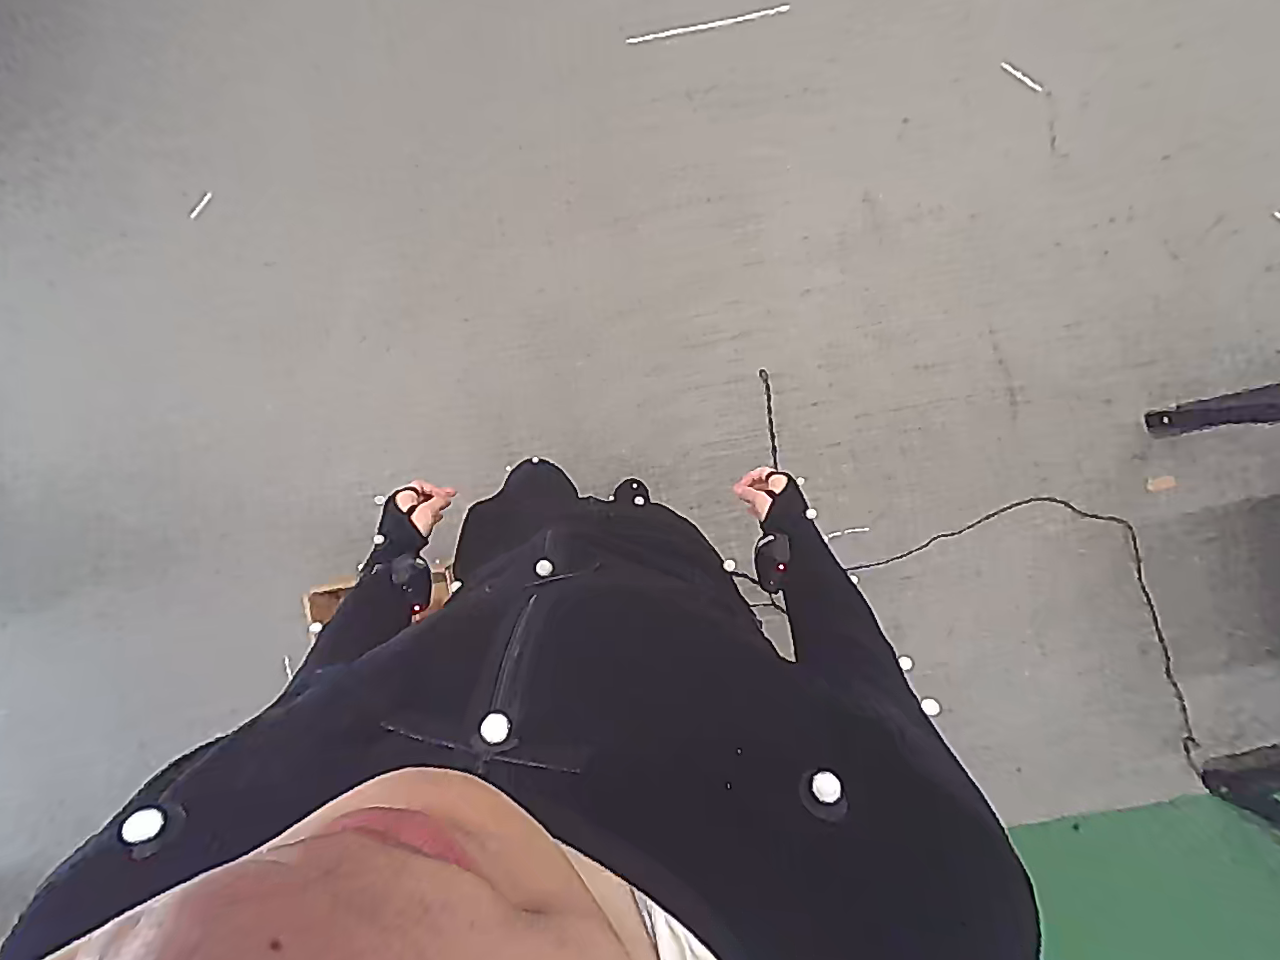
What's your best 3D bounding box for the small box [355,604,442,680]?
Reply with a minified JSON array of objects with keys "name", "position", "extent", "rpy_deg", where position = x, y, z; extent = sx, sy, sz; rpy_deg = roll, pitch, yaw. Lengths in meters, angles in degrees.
[{"name":"small box","position":[-0.663,0.453,1.499],"extent":[0.179,0.176,0.168],"rpy_deg":[-7,93,0]}]
